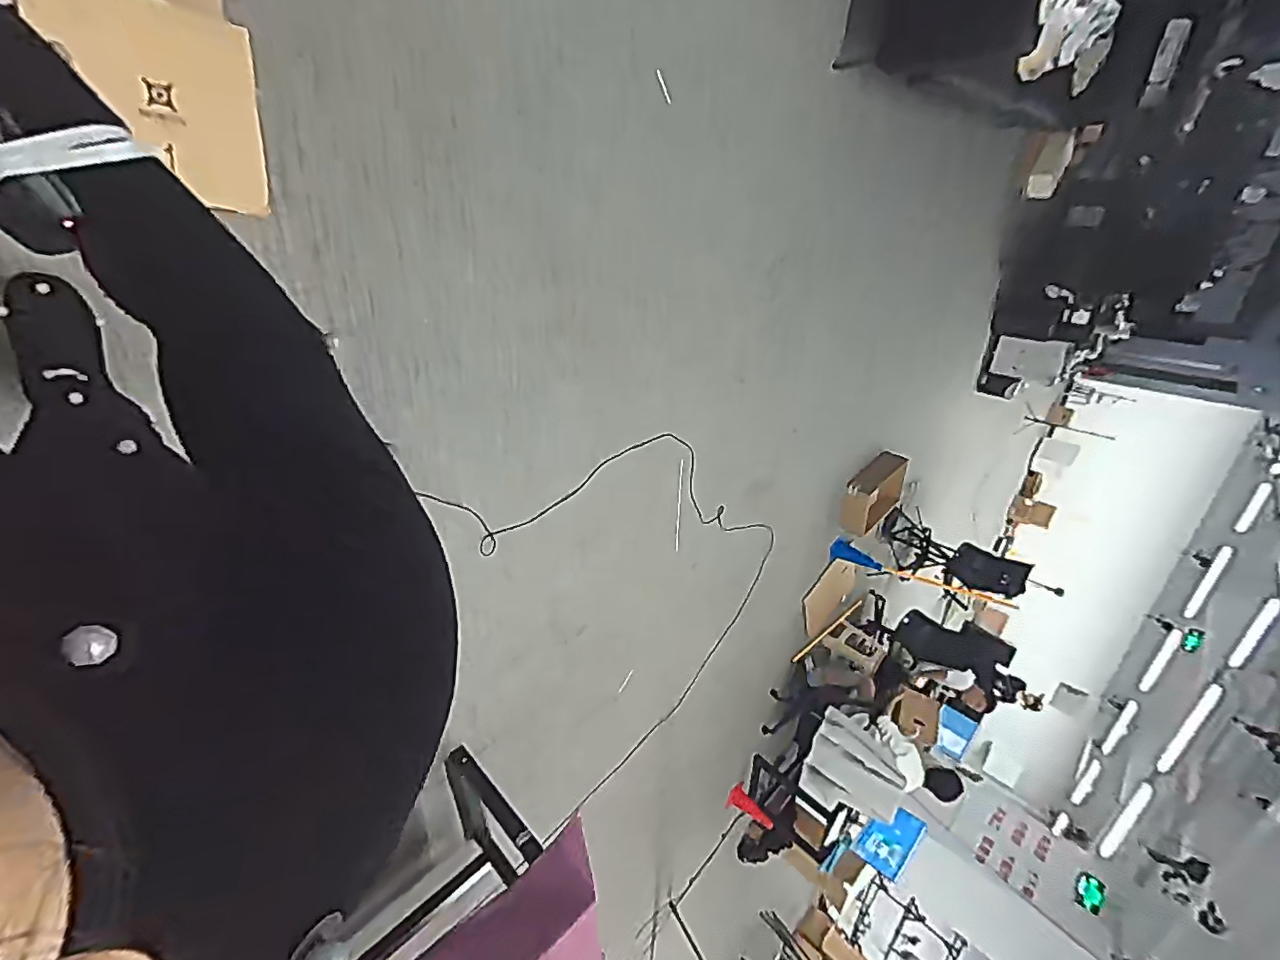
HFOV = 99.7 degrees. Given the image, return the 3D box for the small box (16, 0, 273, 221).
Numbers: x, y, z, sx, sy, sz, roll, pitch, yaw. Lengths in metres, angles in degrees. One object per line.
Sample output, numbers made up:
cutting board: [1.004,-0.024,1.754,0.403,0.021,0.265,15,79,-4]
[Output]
small box: [-0.515,-0.381,0.569,0.168,0.176,0.179,-15,119,-44]
